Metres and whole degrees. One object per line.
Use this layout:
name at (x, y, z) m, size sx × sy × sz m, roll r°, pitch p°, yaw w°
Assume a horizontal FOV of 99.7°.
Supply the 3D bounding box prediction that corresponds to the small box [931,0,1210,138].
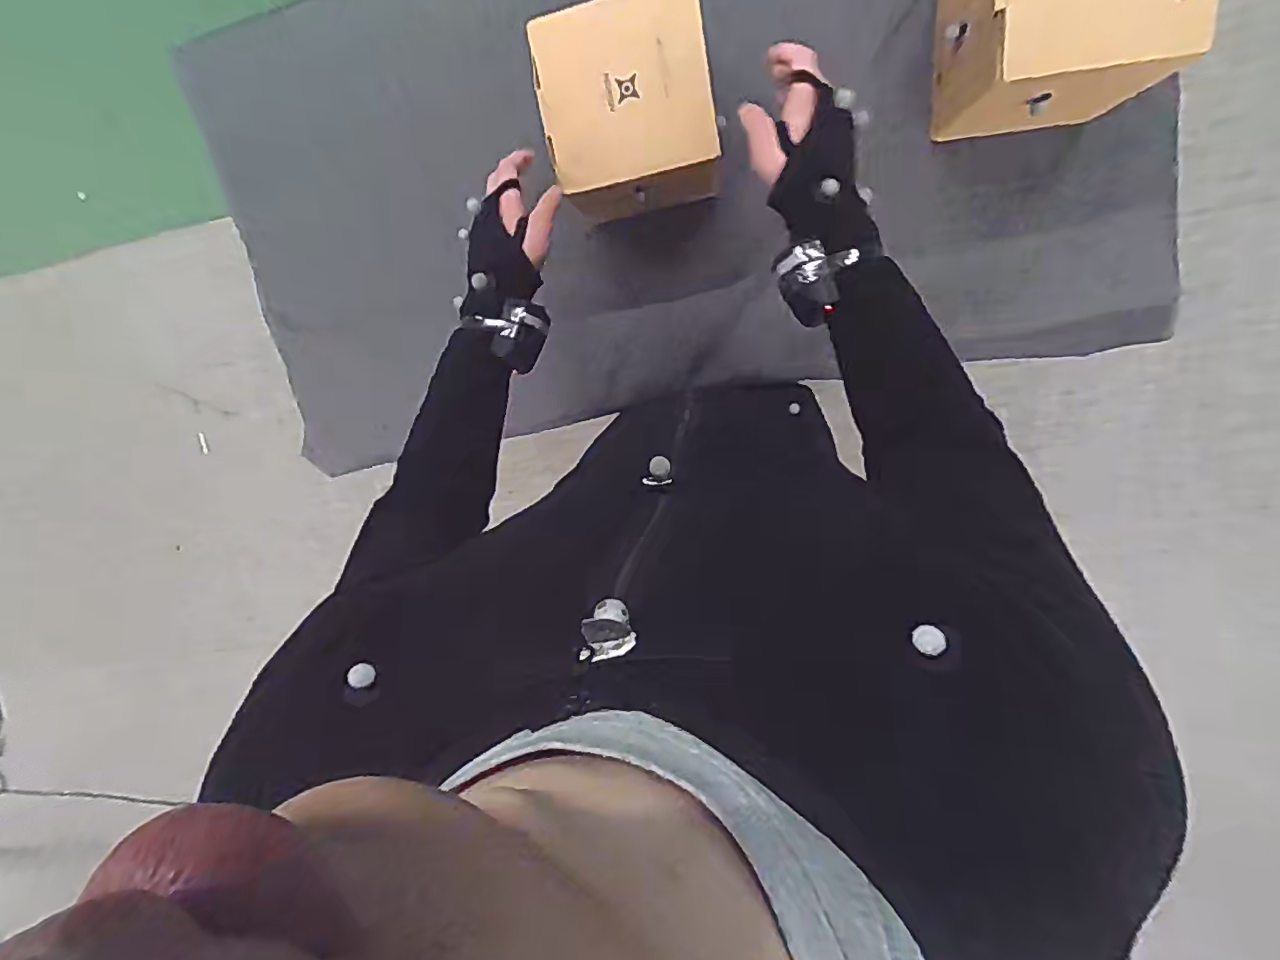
small box at (0.418, -0.472, 0.549) m, size 0.179 × 0.176 × 0.168 m, roll -2°, pitch 105°, yaw 9°

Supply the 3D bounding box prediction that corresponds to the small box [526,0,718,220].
small box at (-0.008, -0.418, 0.627) m, size 0.179 × 0.176 × 0.168 m, roll -9°, pitch 105°, yaw 9°
